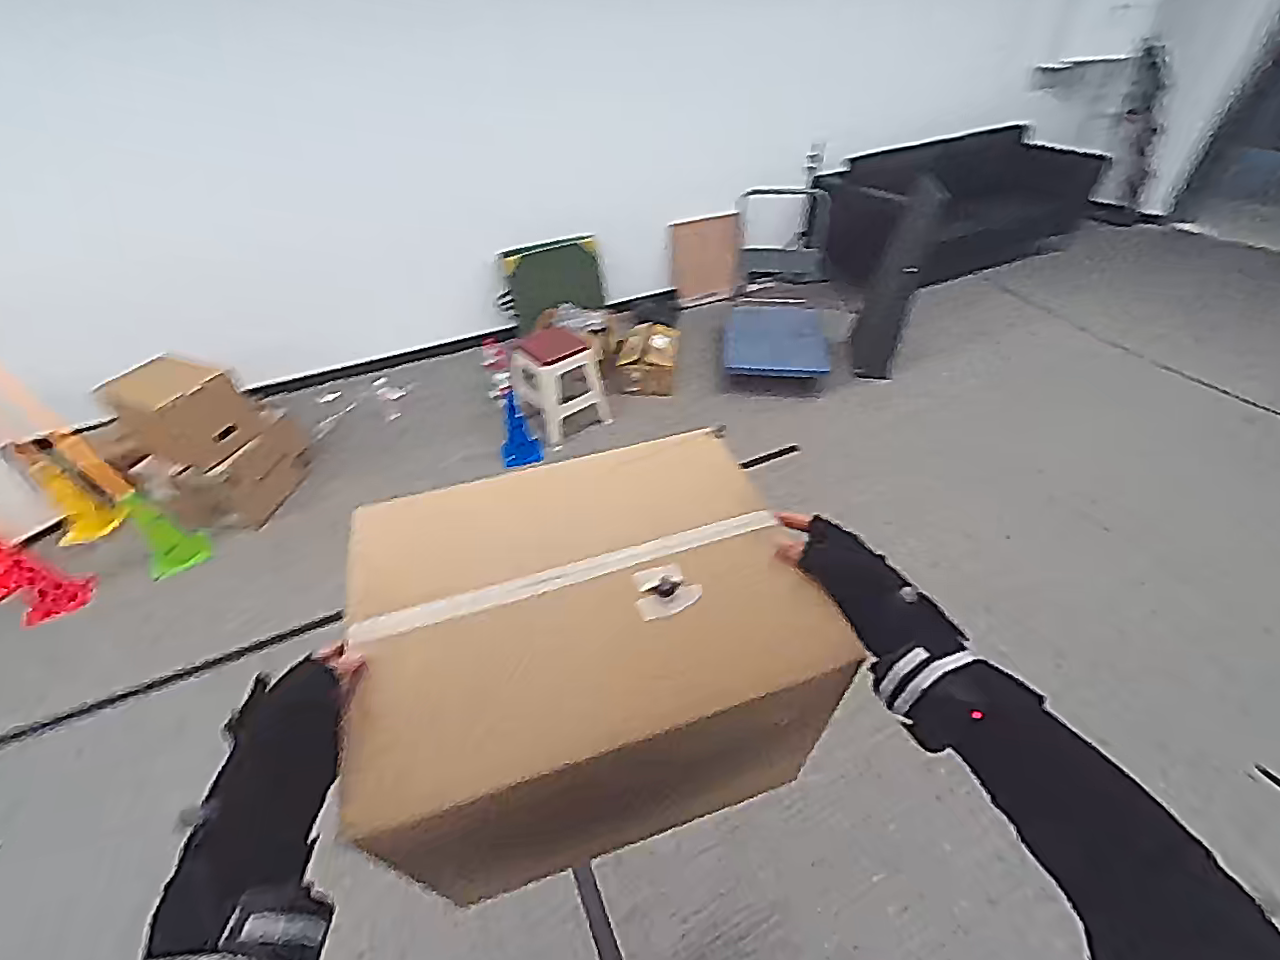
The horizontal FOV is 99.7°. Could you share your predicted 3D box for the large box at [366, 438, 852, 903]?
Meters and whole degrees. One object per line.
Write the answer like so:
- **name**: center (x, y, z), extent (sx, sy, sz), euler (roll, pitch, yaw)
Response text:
- **large box**: center (-0.051, 0.202, 0.619), extent (0.408, 0.320, 0.320), euler (-14, 47, -13)
